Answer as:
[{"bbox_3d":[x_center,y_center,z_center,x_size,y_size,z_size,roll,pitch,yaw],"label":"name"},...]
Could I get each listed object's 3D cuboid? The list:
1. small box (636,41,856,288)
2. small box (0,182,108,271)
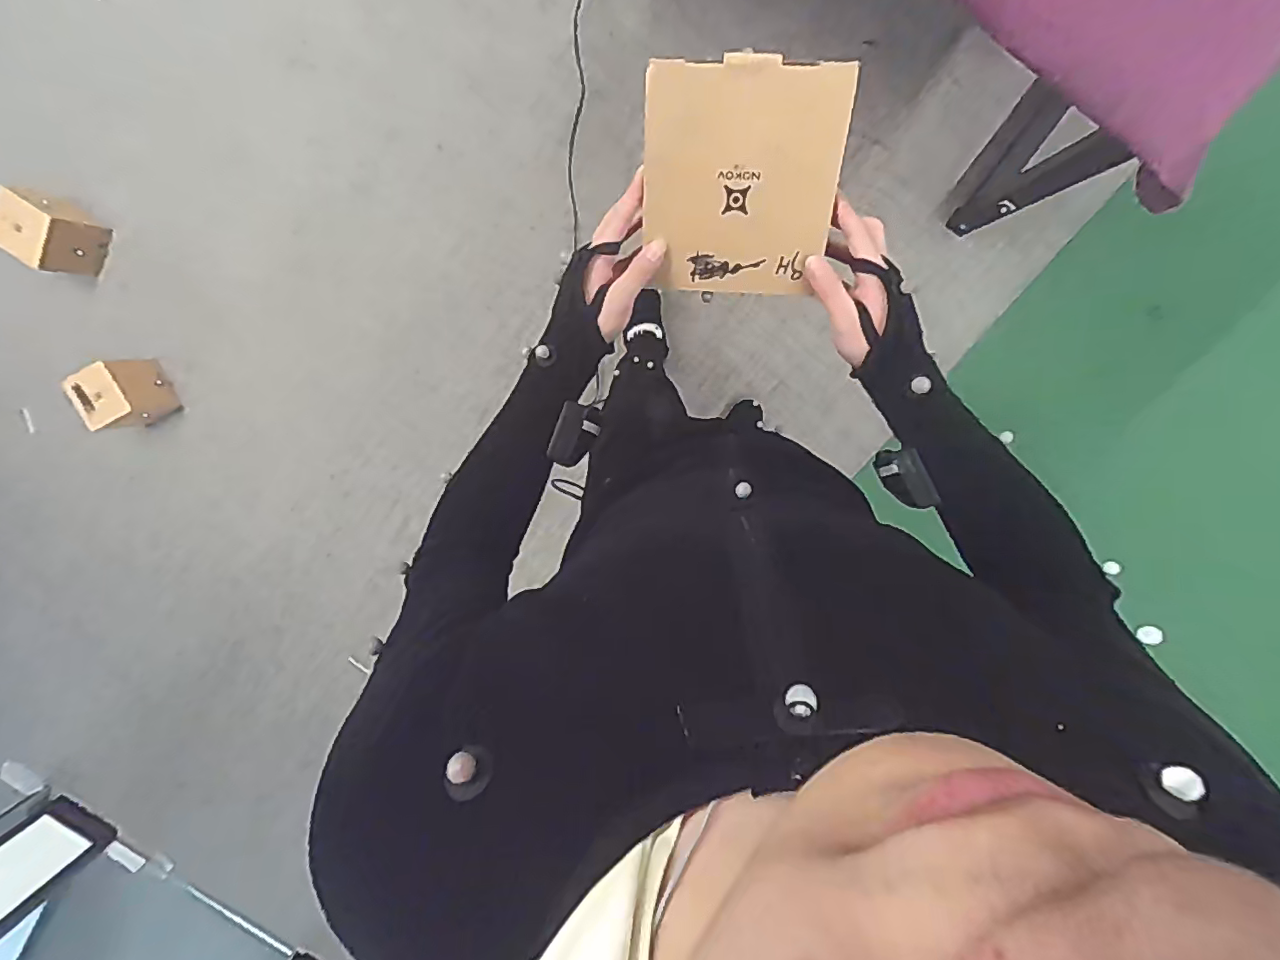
[{"bbox_3d":[0.088,-0.301,0.526,0.168,0.176,0.179,5,123,4],"label":"small box"},{"bbox_3d":[-1.743,-0.738,1.594,0.179,0.176,0.168,33,104,-2],"label":"small box"}]
